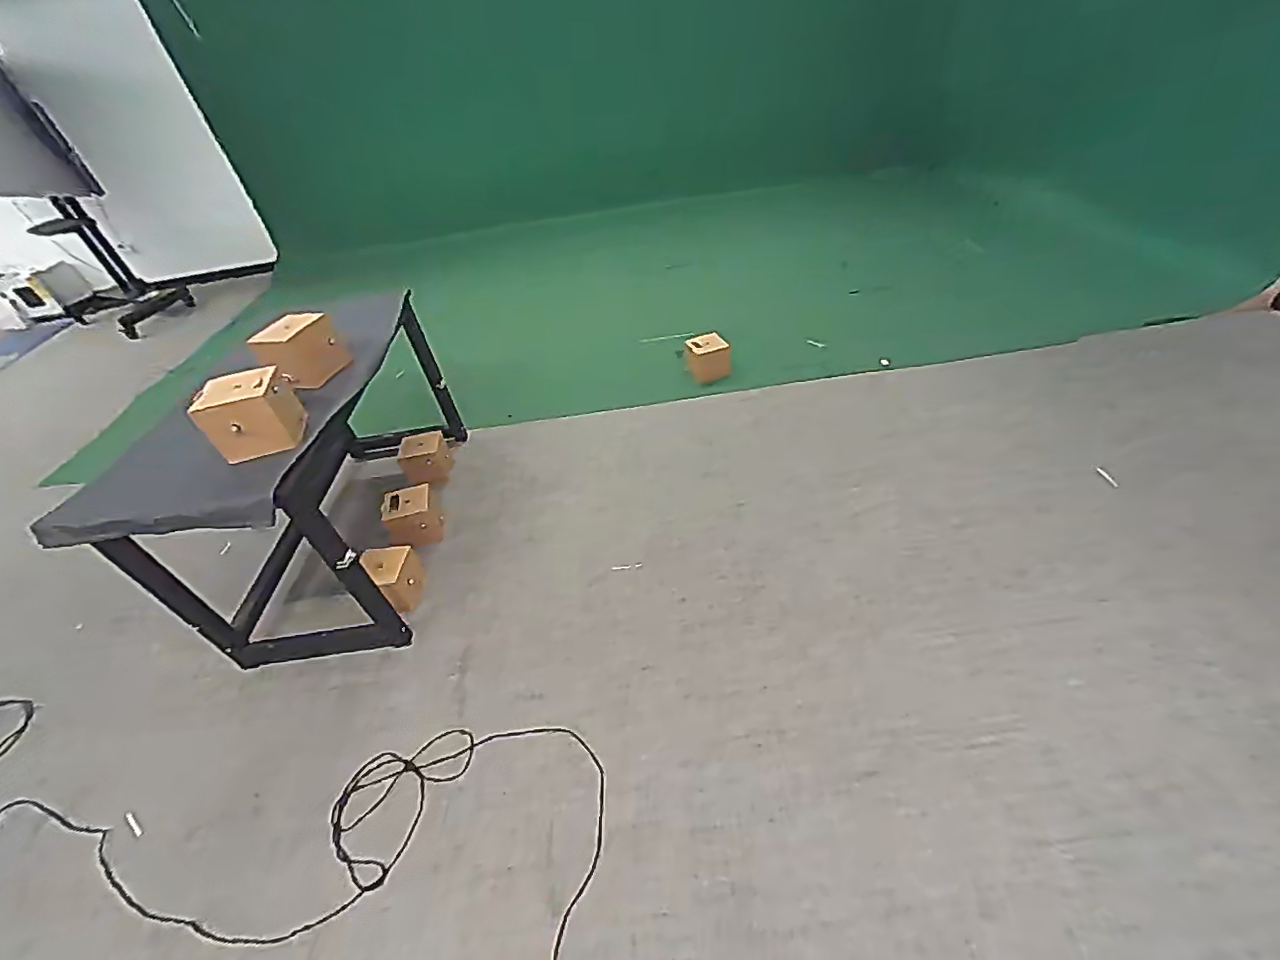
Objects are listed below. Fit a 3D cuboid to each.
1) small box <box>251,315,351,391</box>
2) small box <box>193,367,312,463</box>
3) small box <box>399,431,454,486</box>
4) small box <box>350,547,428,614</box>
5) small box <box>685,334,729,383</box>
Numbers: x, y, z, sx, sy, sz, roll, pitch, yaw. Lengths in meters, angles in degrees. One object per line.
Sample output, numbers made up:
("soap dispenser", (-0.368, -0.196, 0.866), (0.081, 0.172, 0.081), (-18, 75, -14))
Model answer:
("small box", (-1.045, -0.398, 1.691), (0.168, 0.176, 0.179), (3, 45, 19))
("small box", (-1.014, -0.169, 1.432), (0.179, 0.176, 0.168), (-17, 42, -8))
("small box", (-0.951, -0.094, 2.426), (0.179, 0.176, 0.168), (-11, 41, -2))
("small box", (-0.883, 0.358, 1.923), (0.179, 0.176, 0.168), (-6, 42, 5))
("small box", (0.343, -0.616, 2.751), (0.179, 0.176, 0.168), (-18, 43, -10))
